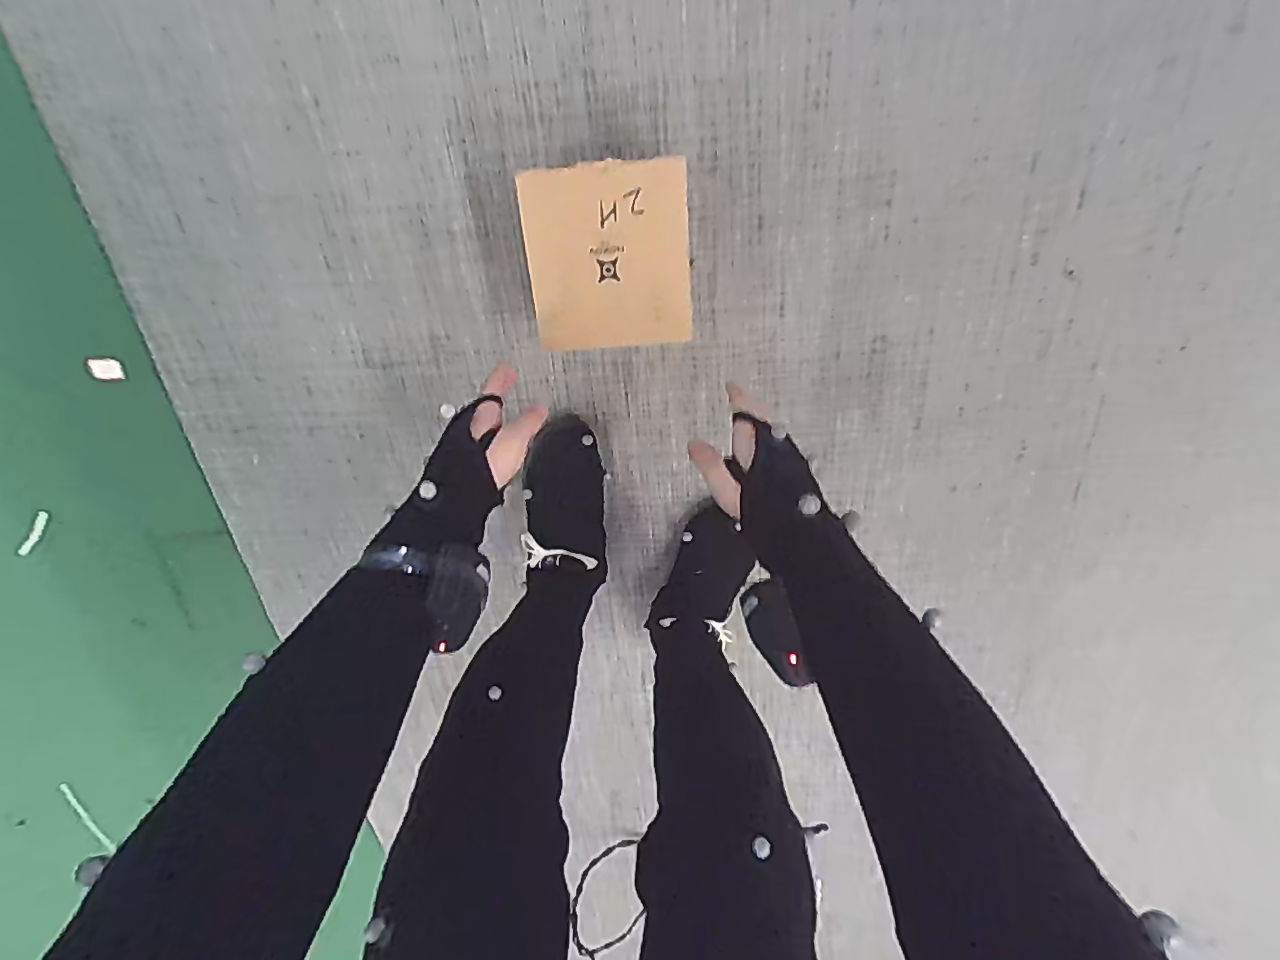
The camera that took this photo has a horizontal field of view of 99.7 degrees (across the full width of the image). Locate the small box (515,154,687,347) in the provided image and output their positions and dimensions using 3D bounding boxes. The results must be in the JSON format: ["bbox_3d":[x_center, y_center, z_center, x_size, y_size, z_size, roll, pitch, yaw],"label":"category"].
[{"bbox_3d":[-0.031,-0.261,0.623,0.168,0.176,0.179,-3,115,3],"label":"small box"}]
